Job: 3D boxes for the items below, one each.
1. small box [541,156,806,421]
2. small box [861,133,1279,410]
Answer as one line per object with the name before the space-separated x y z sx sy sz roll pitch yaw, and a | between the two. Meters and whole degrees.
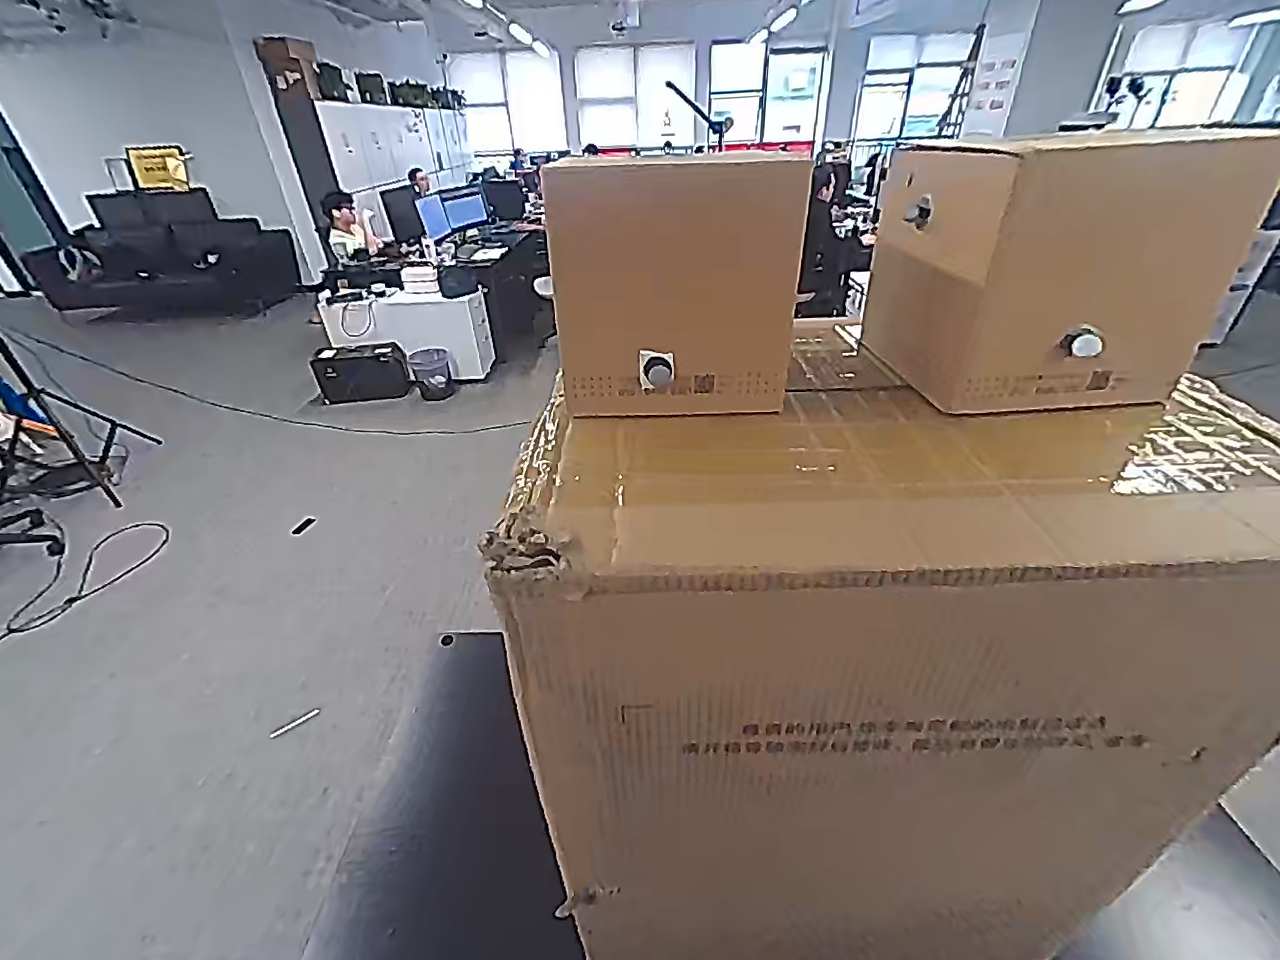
small box | 0.021 -0.160 0.440 0.168 0.176 0.179 -3 34 0
small box | 0.292 -0.167 0.425 0.168 0.176 0.179 -4 33 0
